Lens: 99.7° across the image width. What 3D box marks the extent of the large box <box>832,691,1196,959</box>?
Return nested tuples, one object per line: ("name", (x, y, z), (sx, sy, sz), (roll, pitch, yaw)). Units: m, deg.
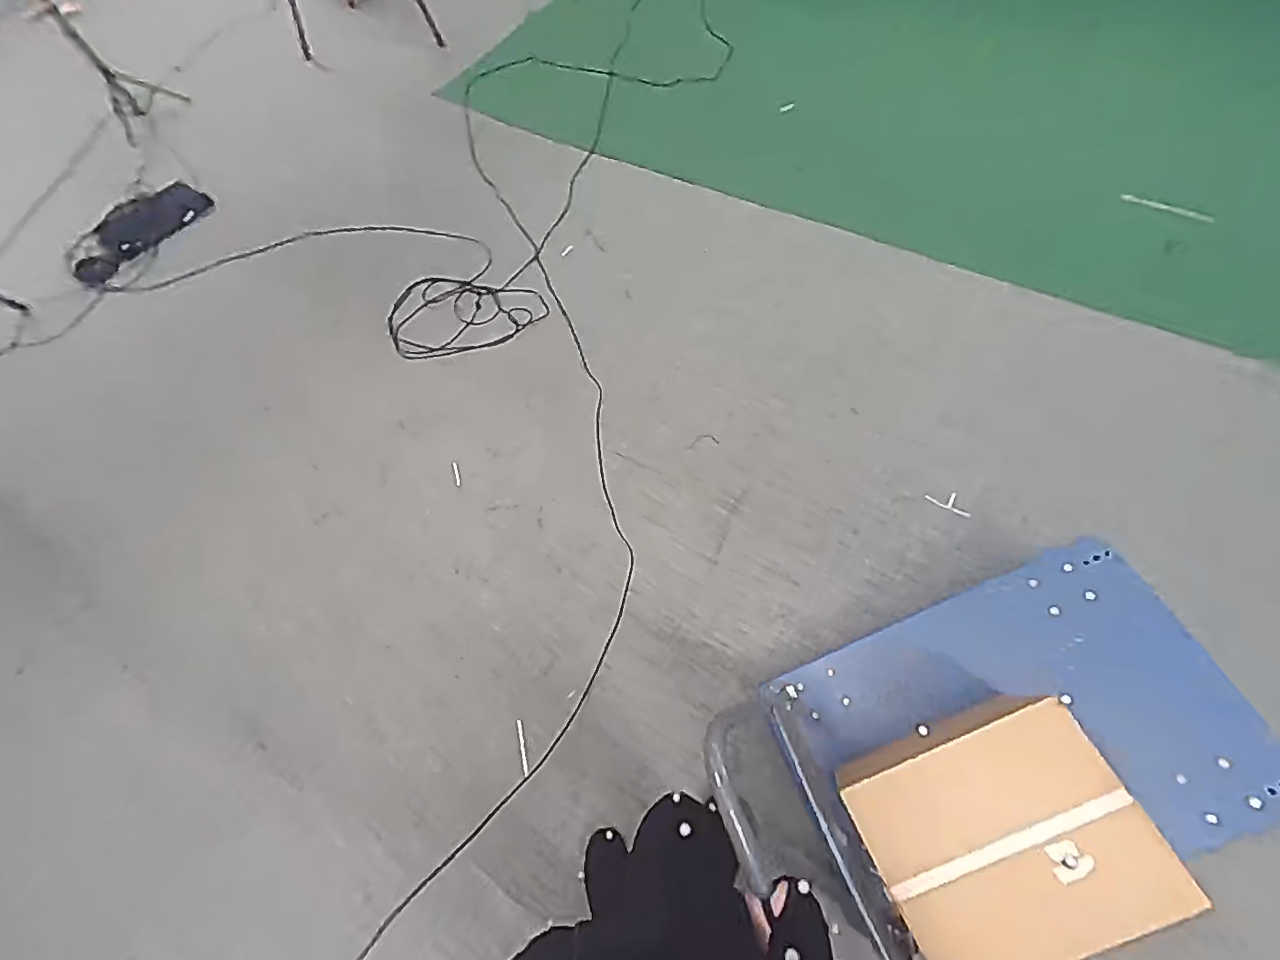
("large box", (0.617, 0.625, 0.997), (0.408, 0.320, 0.320), (-27, 64, 6))
